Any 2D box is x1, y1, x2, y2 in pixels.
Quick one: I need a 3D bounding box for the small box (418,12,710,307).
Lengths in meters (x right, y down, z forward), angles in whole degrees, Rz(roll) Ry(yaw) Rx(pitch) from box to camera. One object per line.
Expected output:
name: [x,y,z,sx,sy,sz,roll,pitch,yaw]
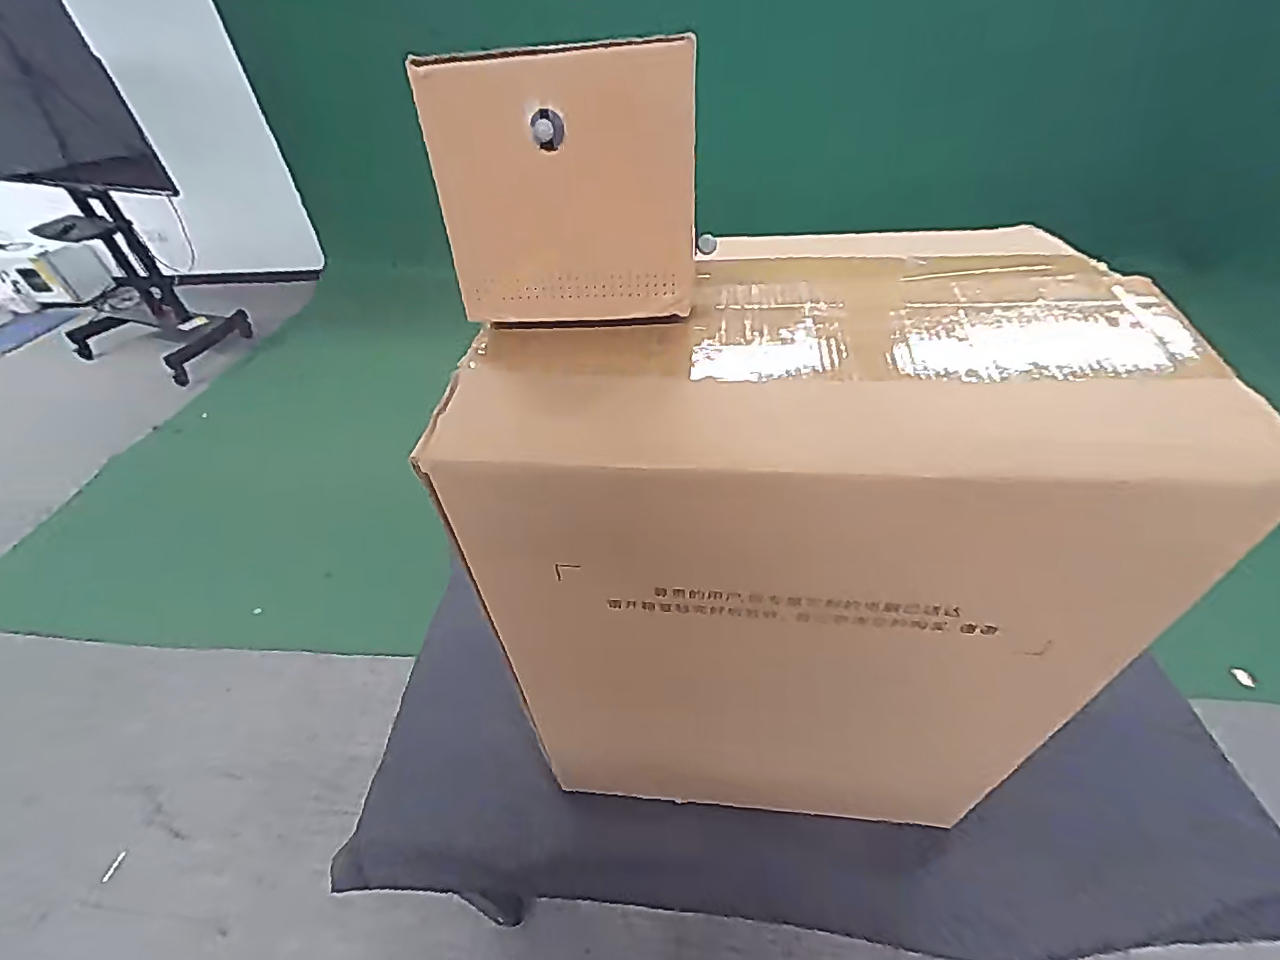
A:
small box: [-0.038,-0.242,0.422,0.179,0.176,0.168,2,37,3]
